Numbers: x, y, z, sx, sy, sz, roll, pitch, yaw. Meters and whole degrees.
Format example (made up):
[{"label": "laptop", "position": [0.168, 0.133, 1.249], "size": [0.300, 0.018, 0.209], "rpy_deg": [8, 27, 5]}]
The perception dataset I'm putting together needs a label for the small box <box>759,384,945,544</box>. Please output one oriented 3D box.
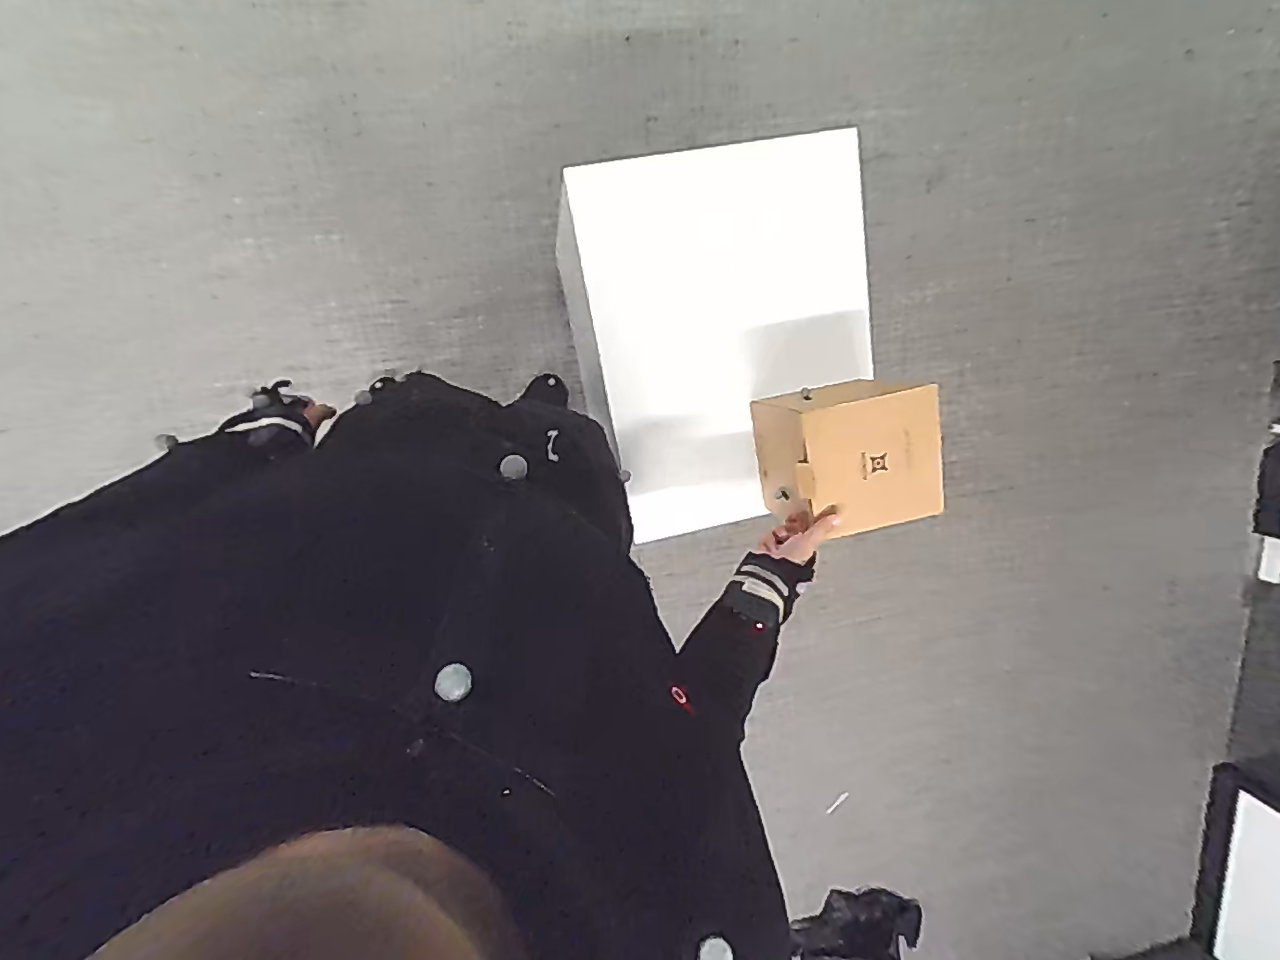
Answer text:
[{"label": "small box", "position": [0.271, -0.032, 0.725], "size": [0.179, 0.176, 0.168], "rpy_deg": [-13, 104, -7]}]
